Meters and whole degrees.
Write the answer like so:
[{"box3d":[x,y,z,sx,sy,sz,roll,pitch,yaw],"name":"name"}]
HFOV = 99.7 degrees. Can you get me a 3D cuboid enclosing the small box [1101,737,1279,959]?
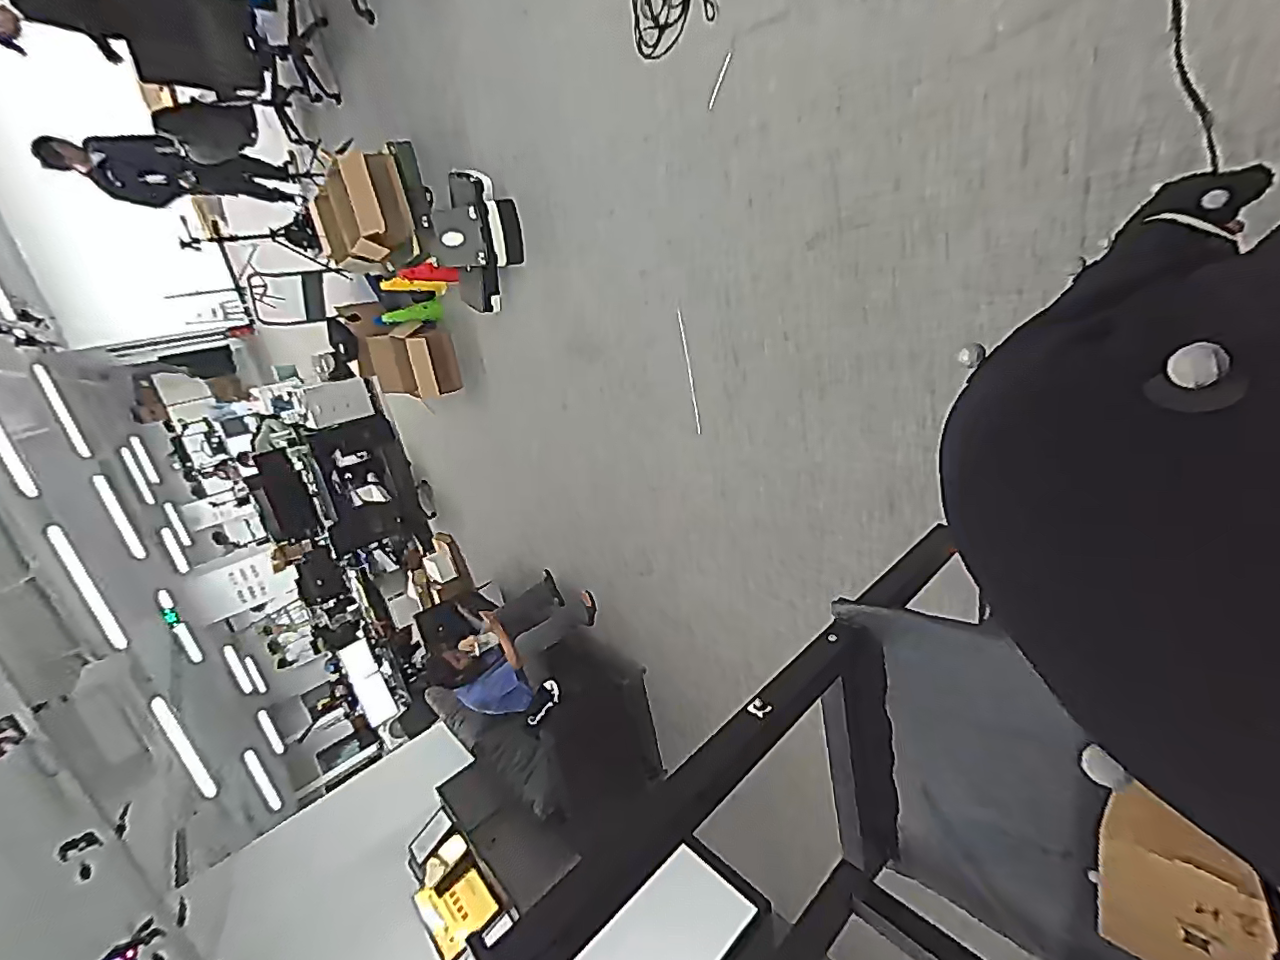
[{"box3d":[0.649,0.439,0.611,0.168,0.176,0.179,7,116,49],"name":"small box"}]
